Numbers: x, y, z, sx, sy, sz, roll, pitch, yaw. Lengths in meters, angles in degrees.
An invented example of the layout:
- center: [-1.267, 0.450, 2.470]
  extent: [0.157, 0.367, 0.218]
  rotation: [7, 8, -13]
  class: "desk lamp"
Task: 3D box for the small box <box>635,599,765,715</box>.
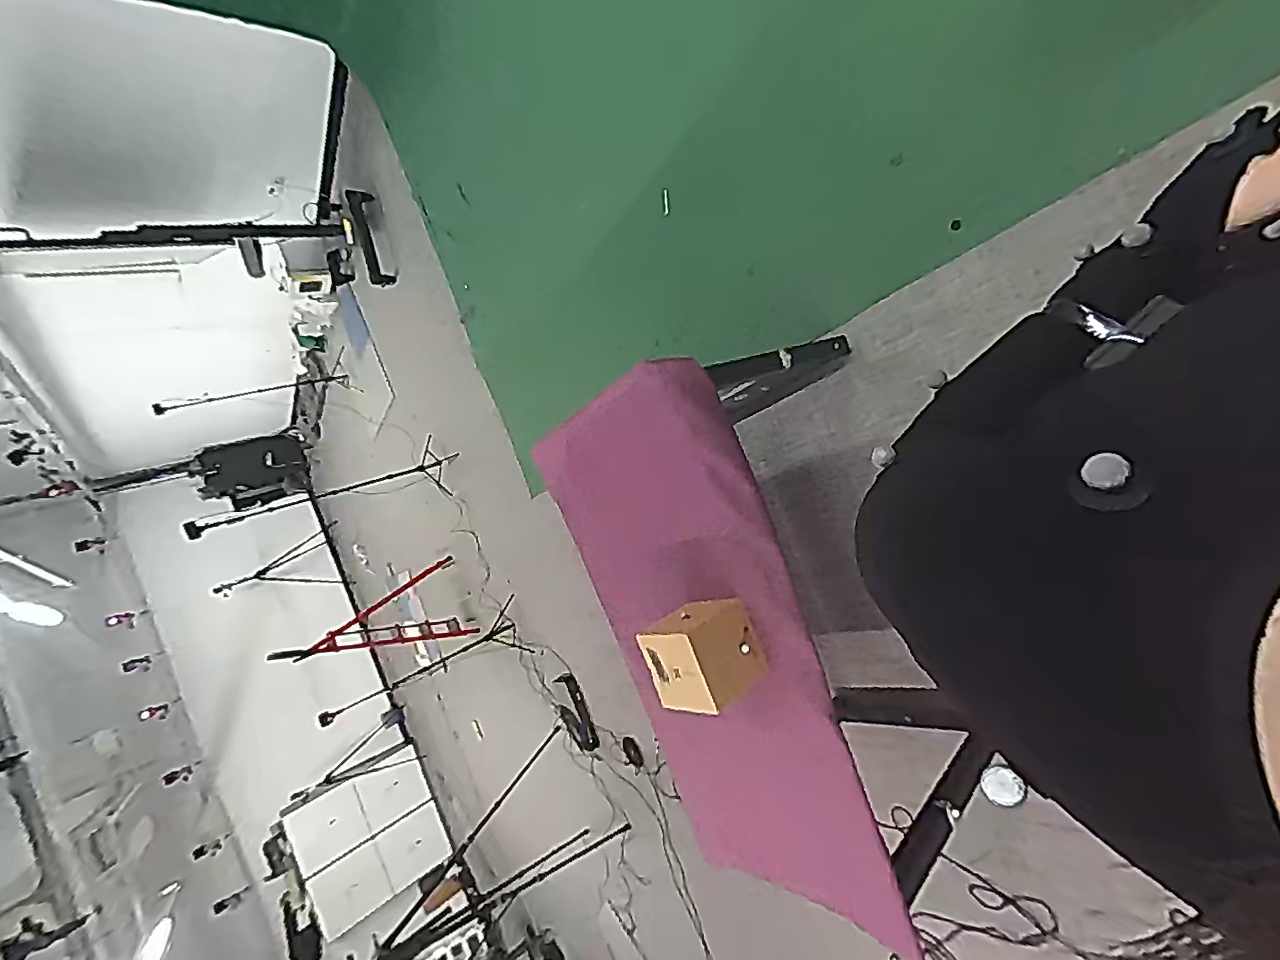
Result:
- center: [0.125, 0.359, 1.121]
  extent: [0.179, 0.176, 0.168]
  rotation: [-24, 88, 52]
  class: "small box"
